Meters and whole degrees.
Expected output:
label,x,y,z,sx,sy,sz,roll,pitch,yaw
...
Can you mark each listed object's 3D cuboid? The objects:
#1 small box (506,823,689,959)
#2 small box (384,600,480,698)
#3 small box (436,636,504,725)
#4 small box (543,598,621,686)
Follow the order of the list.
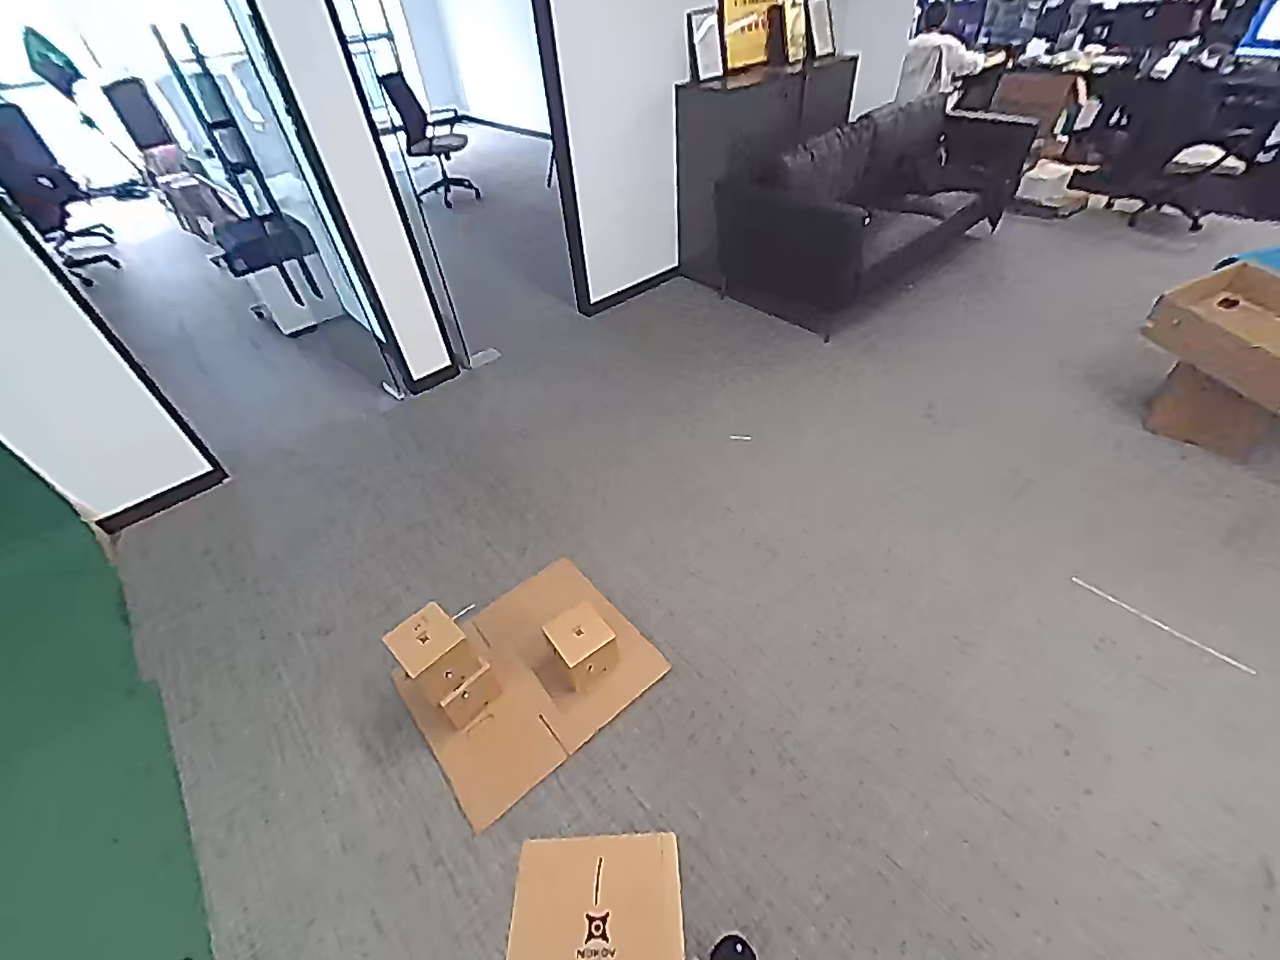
label,x,y,z,sx,sy,sz,roll,pitch,yaw
small box,-0.034,0.482,0.548,0.168,0.176,0.179,-3,34,2
small box,-0.574,0.480,1.510,0.179,0.176,0.168,31,53,33
small box,-0.539,0.597,1.624,0.179,0.176,0.168,31,54,32
small box,-0.175,0.510,1.677,0.168,0.176,0.179,-30,48,-23
